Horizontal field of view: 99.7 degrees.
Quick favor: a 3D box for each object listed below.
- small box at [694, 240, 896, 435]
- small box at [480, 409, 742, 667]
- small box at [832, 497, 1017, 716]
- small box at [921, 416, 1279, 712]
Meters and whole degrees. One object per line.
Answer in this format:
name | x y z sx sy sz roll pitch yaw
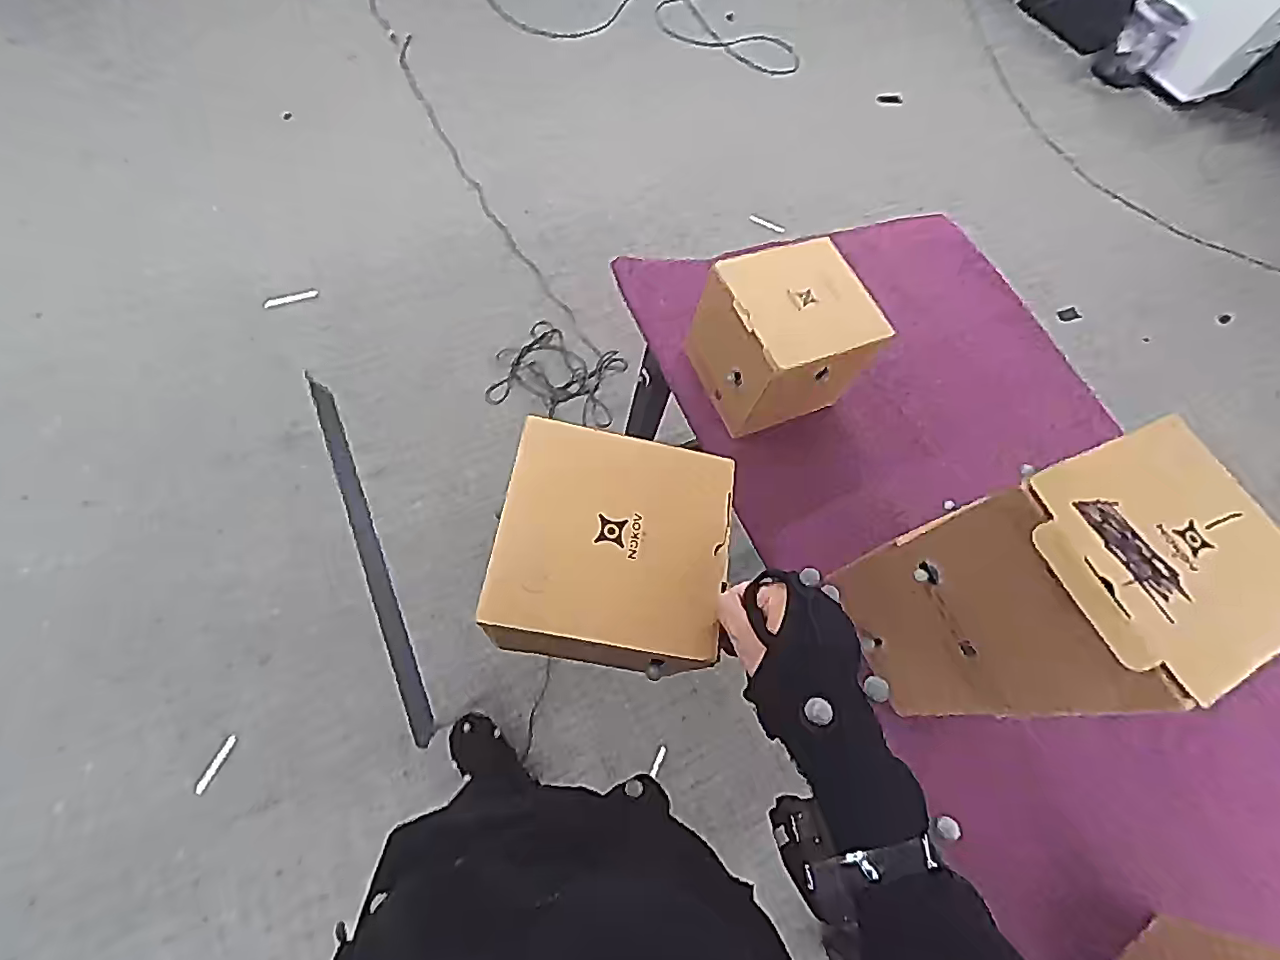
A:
small box | 0.187 -0.182 0.720 0.179 0.176 0.168 -20 72 -18
small box | -0.027 0.064 0.473 0.179 0.176 0.168 12 66 -7
small box | 0.352 0.140 0.600 0.168 0.176 0.179 -20 71 -17
small box | 0.372 0.078 0.448 0.179 0.176 0.168 -19 70 -17
